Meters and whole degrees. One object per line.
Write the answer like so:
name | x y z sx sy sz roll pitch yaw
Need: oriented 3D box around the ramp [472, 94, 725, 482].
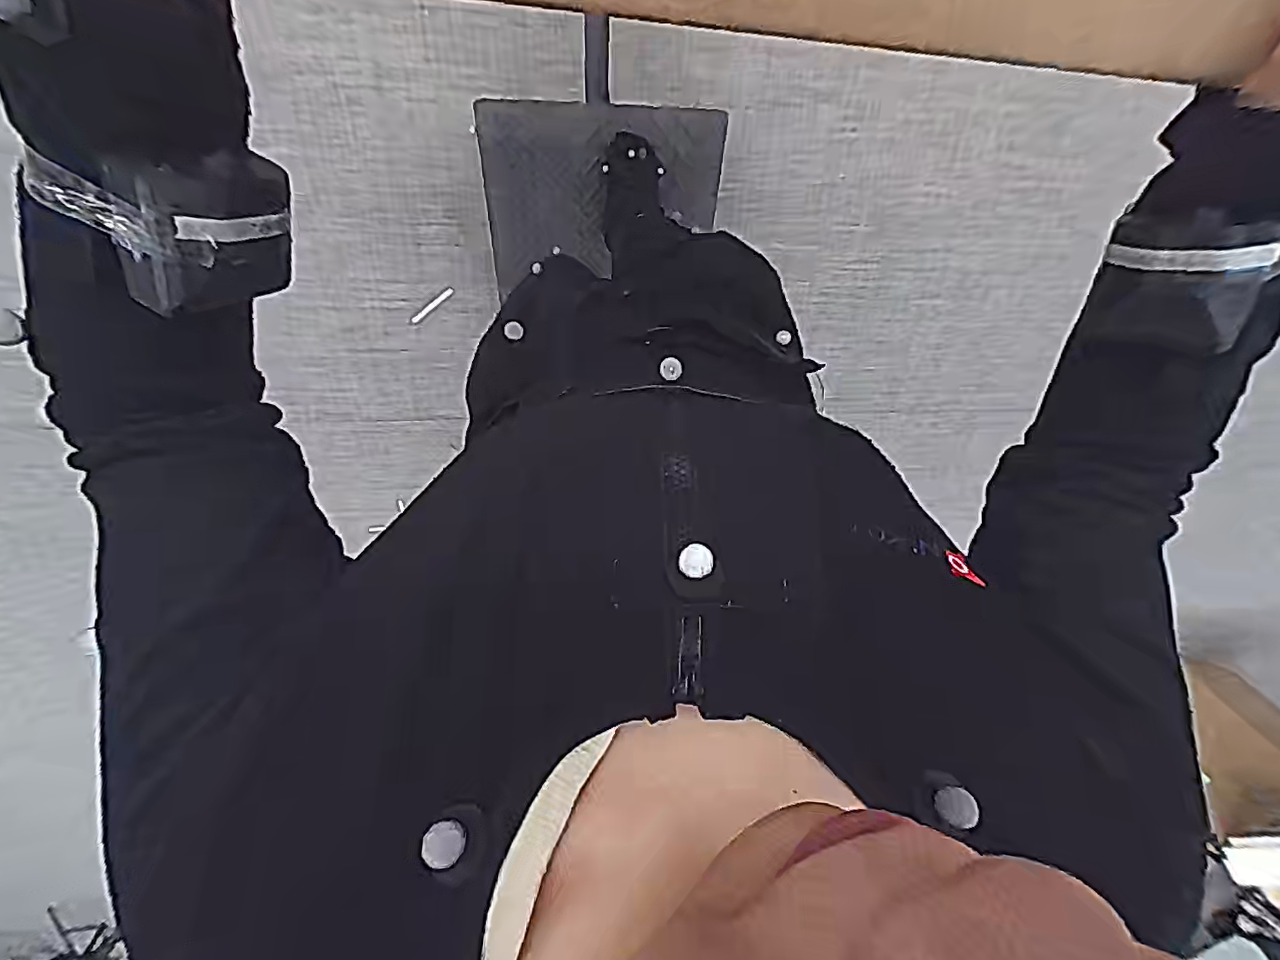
ramp | -0.099 -0.363 1.368 0.509 0.206 0.991 -3 124 -5
